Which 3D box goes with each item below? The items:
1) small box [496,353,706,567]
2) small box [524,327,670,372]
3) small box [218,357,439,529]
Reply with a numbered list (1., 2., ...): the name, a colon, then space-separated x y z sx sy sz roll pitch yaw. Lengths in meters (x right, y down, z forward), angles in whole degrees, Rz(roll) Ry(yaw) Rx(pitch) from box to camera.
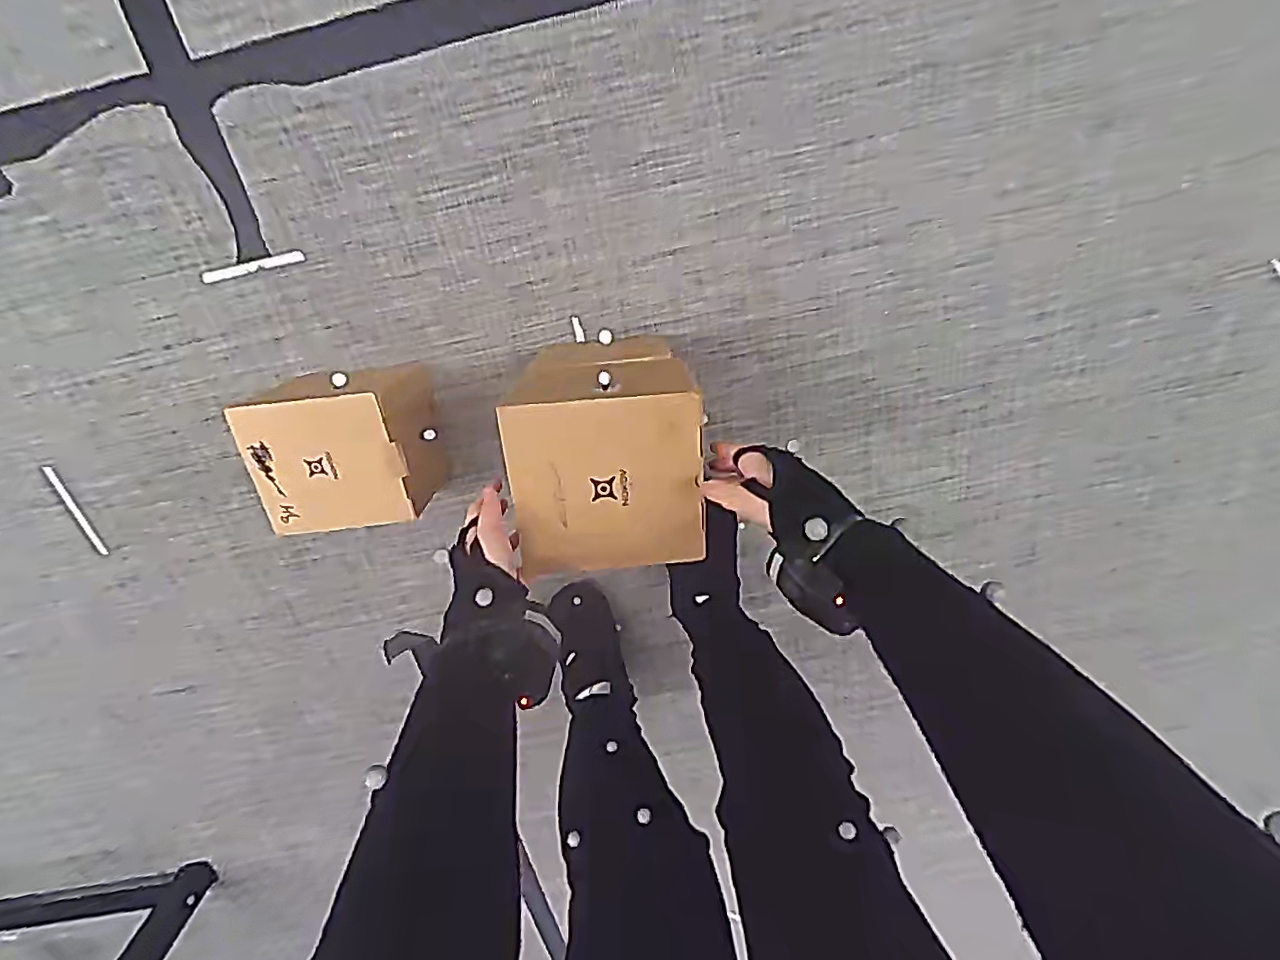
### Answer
1. small box: -0.034 -0.030 0.548 0.179 0.176 0.168 -4 113 -1
2. small box: -0.044 -0.091 0.699 0.168 0.176 0.179 -5 113 -1
3. small box: -0.374 -0.056 0.696 0.179 0.176 0.168 -6 114 -1
